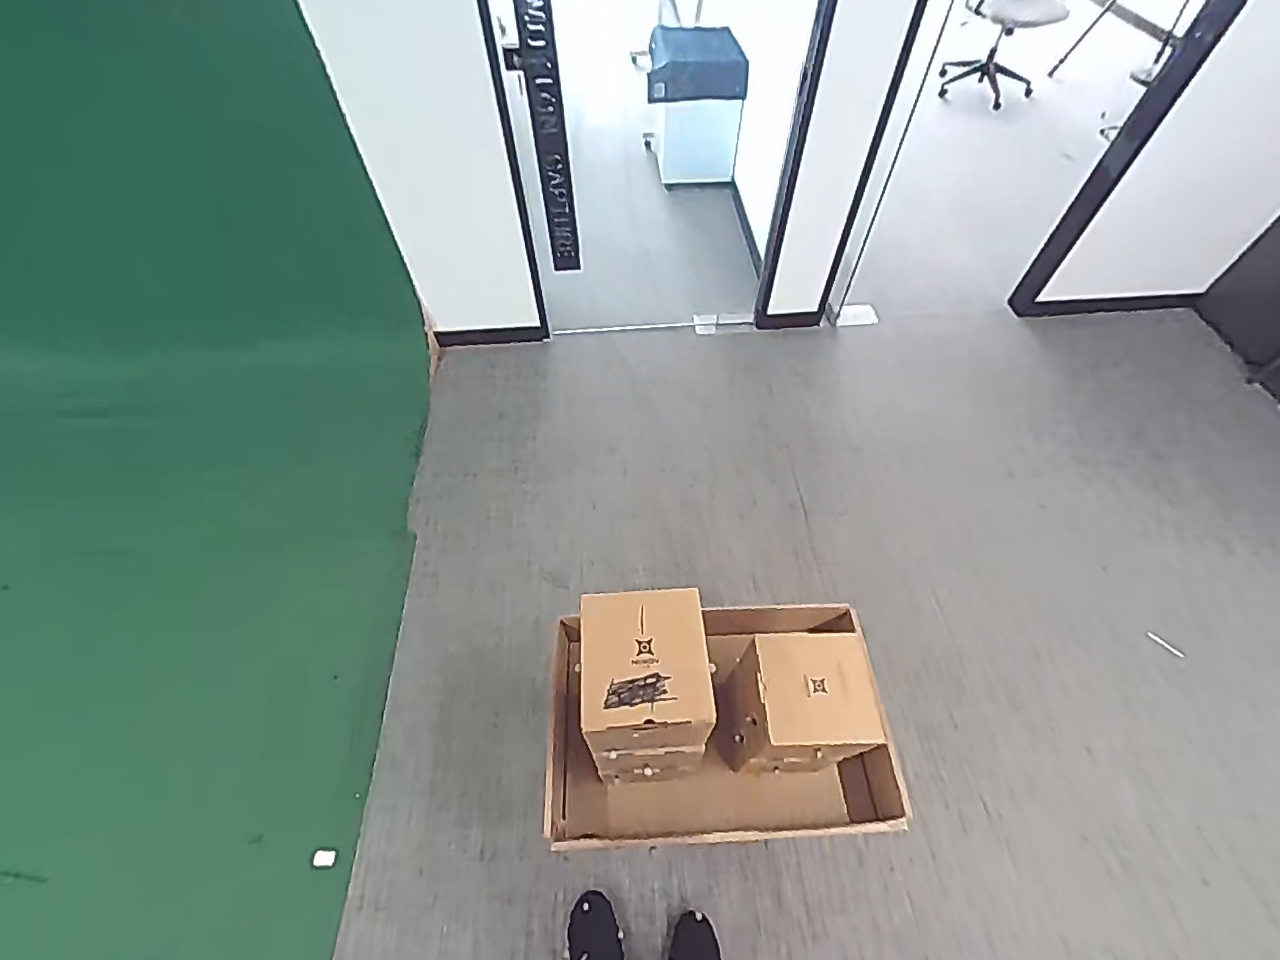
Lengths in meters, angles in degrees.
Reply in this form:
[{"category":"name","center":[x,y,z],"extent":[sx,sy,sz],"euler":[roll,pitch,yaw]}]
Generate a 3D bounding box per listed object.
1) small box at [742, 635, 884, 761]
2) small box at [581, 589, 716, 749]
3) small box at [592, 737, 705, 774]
[{"category":"small box","center":[0.270,0.365,0.897],"extent":[0.179,0.176,0.168],"euler":[0,56,-2]},{"category":"small box","center":[0.007,0.270,0.756],"extent":[0.168,0.176,0.179],"euler":[-2,54,-3]},{"category":"small box","center":[0.008,0.370,0.887],"extent":[0.168,0.176,0.179],"euler":[-2,55,-2]}]
